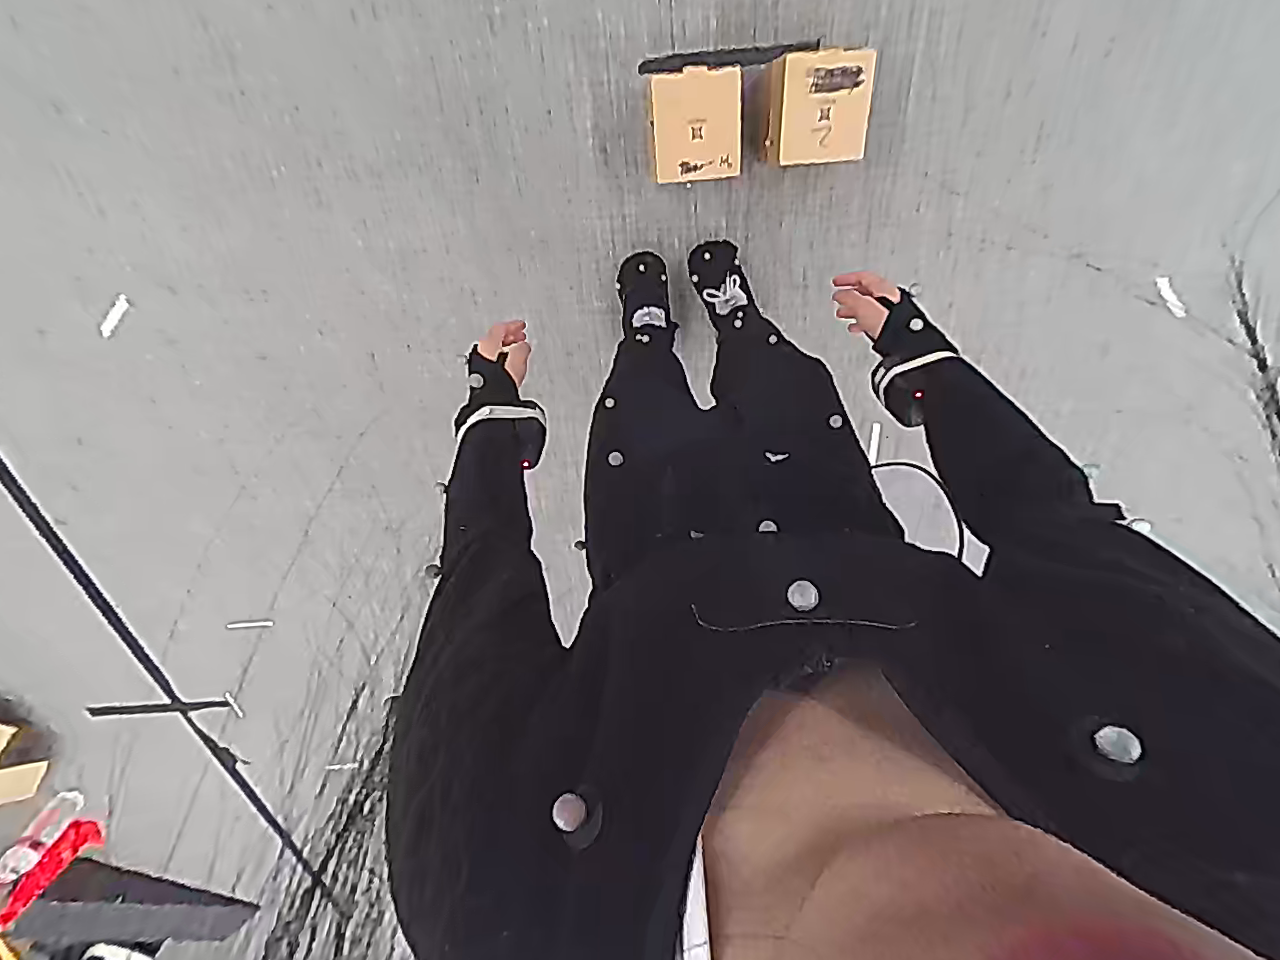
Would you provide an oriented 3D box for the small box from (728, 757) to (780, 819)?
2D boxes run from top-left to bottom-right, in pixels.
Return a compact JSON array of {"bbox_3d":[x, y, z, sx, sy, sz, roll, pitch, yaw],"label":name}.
[{"bbox_3d":[0.477,1.290,2.272,0.179,0.176,0.168,-2,119,0],"label":"small box"}]

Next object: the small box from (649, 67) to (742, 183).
[{"bbox_3d":[0.106,-0.700,1.082,0.168,0.176,0.179,-4,120,2],"label":"small box"}]

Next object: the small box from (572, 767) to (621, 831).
[{"bbox_3d":[-0.184,1.336,2.270,0.179,0.176,0.168,10,119,-10],"label":"small box"}]
